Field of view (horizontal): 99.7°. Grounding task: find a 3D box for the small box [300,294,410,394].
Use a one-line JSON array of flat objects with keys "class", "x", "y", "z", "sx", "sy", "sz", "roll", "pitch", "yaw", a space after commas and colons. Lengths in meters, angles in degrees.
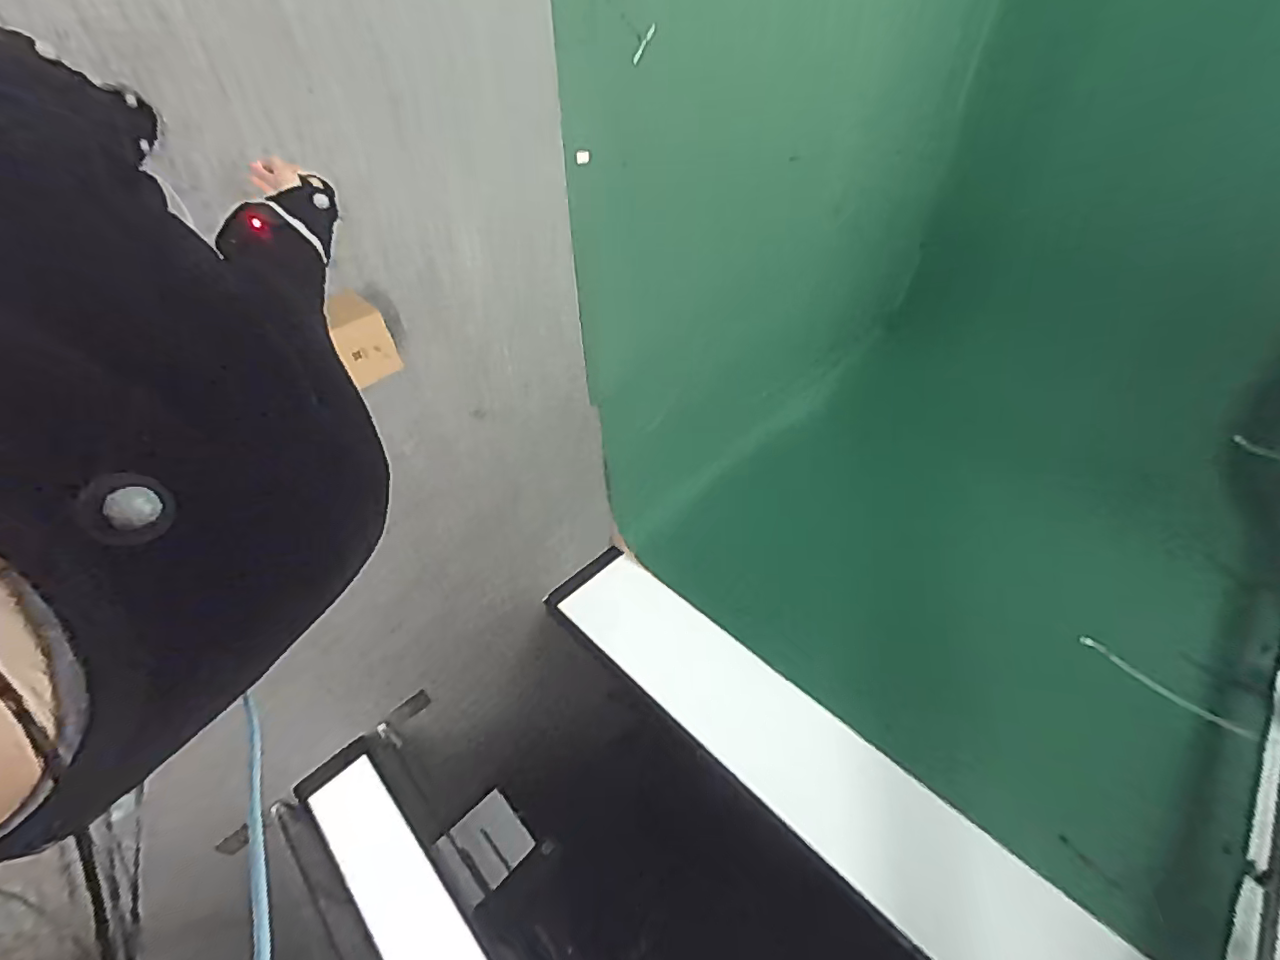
[{"class": "small box", "x": -0.730, "y": -0.350, "z": 1.378, "sx": 0.179, "sy": 0.176, "sz": 0.168, "roll": -38, "pitch": 142, "yaw": -28}]
